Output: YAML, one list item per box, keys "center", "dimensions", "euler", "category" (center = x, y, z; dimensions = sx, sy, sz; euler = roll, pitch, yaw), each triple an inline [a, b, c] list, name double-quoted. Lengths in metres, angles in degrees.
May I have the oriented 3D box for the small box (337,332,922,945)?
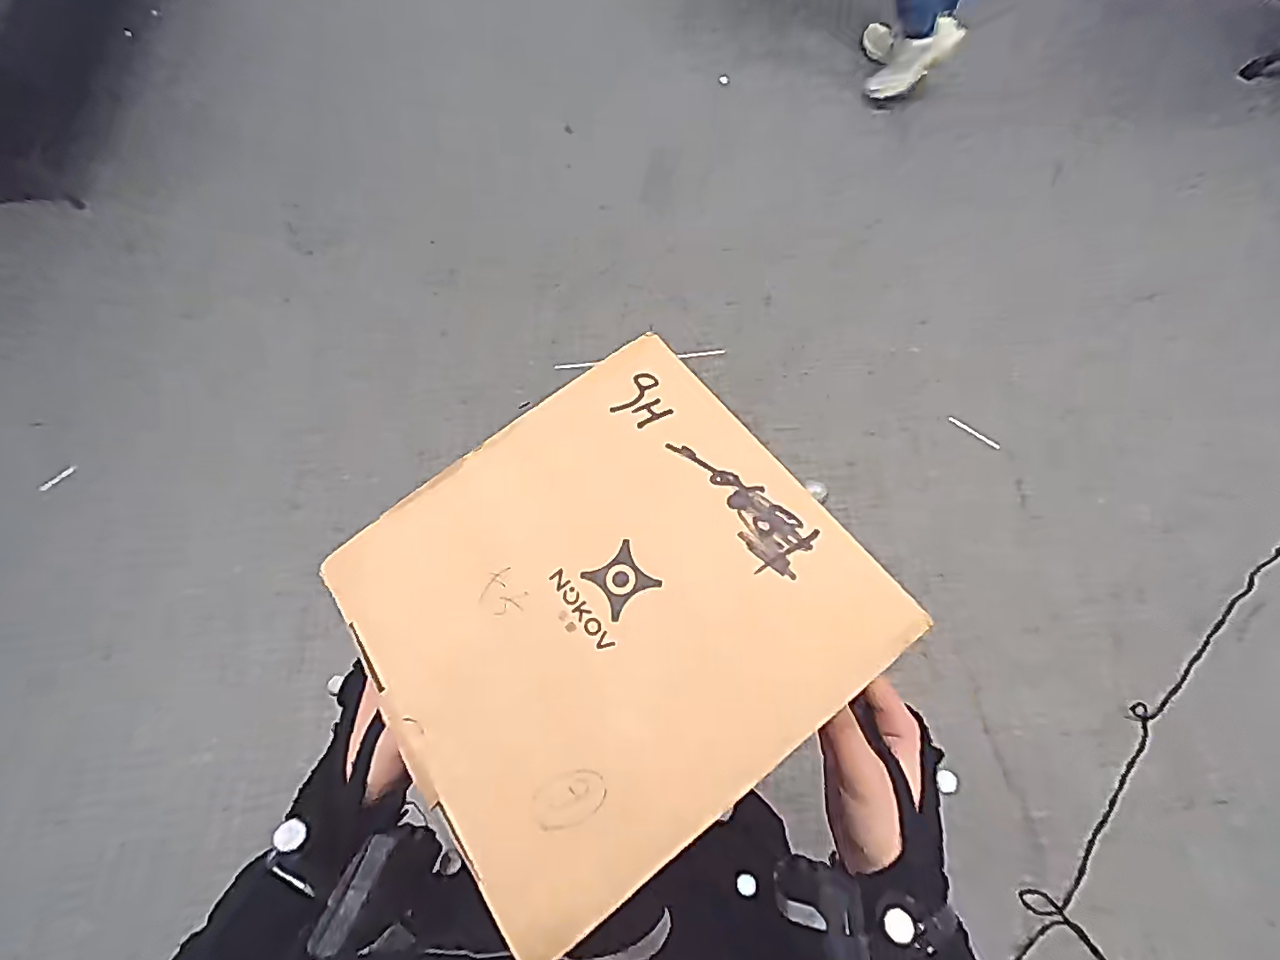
- center: [-0.003, 0.069, 0.281]
  dimensions: [0.179, 0.176, 0.168]
  euler: [-37, 69, -7]
  category: "small box"
